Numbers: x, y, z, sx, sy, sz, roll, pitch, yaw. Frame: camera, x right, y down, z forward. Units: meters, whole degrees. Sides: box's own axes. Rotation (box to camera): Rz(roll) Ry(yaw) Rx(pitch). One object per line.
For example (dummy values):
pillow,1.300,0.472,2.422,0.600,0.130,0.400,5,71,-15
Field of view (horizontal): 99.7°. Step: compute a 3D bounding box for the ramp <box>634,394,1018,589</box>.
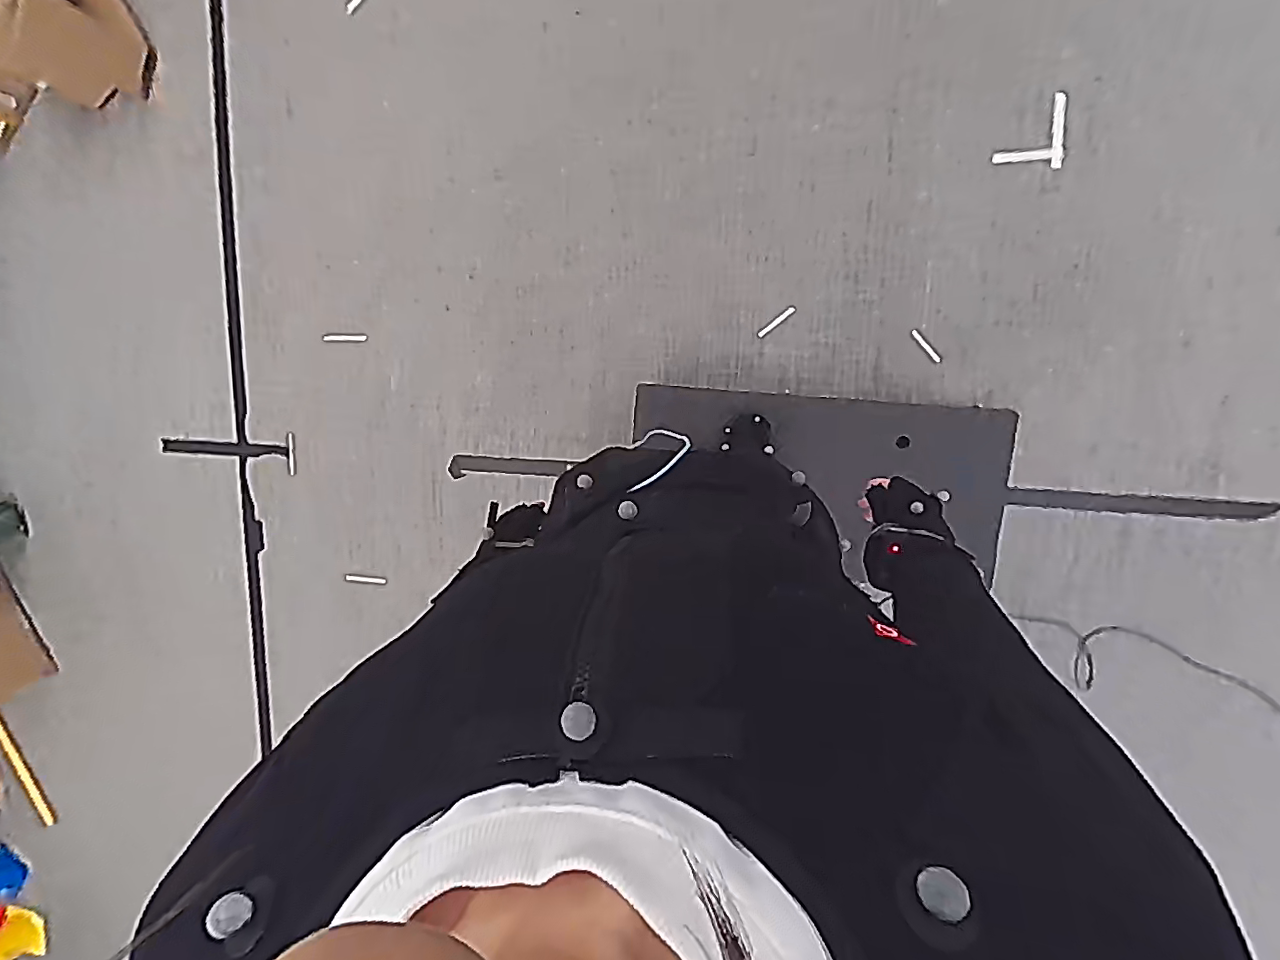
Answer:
ramp,0.488,0.031,1.447,0.991,0.206,0.509,2,94,10
